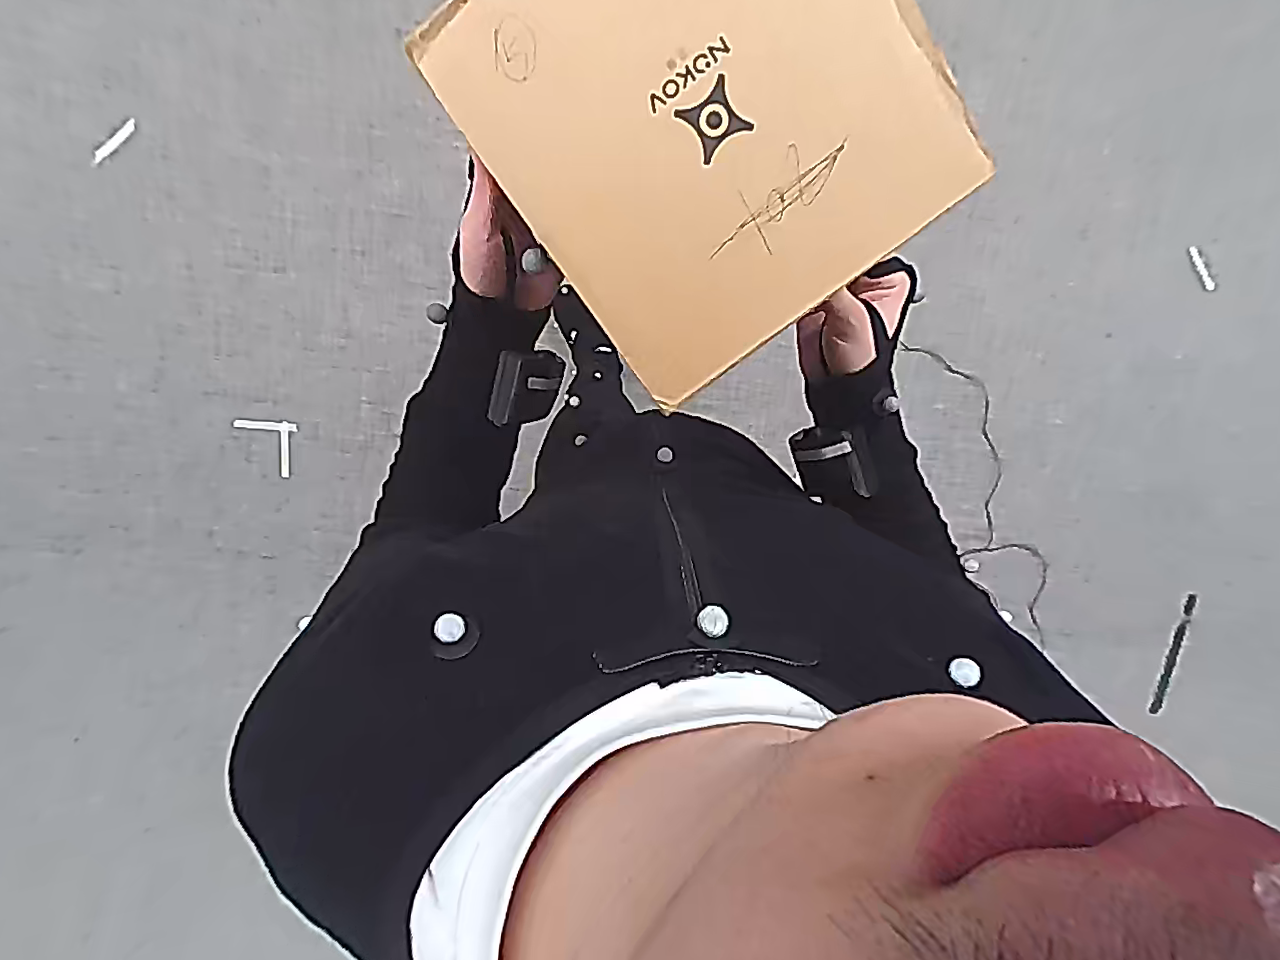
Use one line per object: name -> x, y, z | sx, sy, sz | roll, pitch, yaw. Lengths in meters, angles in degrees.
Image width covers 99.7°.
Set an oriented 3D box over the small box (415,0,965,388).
small box -> 0.022, -0.173, 0.298 | 0.168, 0.176, 0.179 | -35, 103, 9
